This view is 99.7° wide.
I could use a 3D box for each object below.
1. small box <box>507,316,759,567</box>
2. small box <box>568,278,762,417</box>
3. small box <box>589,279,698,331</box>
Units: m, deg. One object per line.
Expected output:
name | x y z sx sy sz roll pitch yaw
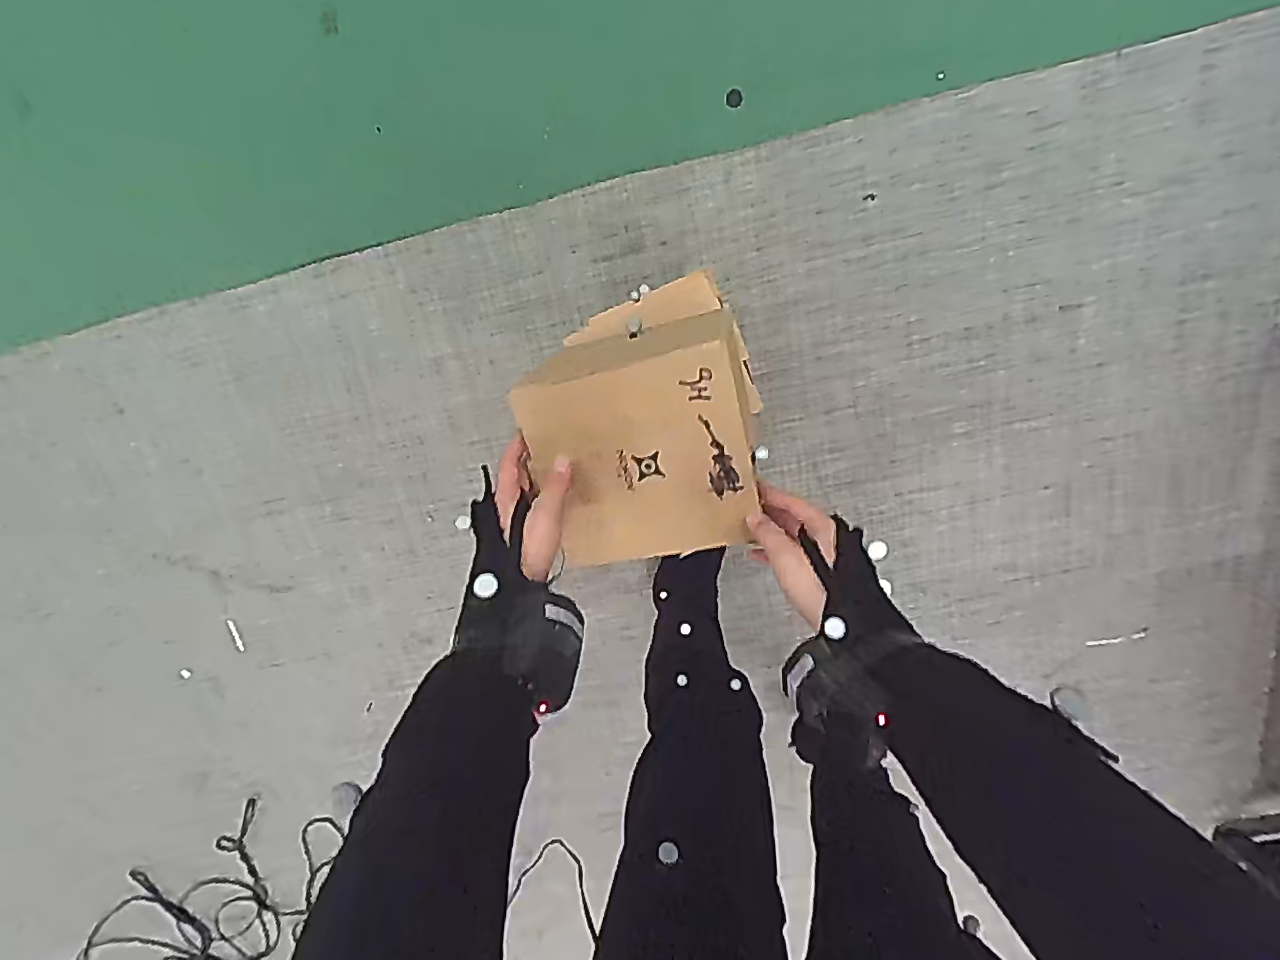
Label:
small box | 0.011 -0.041 0.501 0.179 0.176 0.168 -10 113 16
small box | 0.031 -0.136 0.683 0.179 0.176 0.168 -24 103 9
small box | 0.038 -0.192 0.835 0.168 0.176 0.179 -21 104 7
